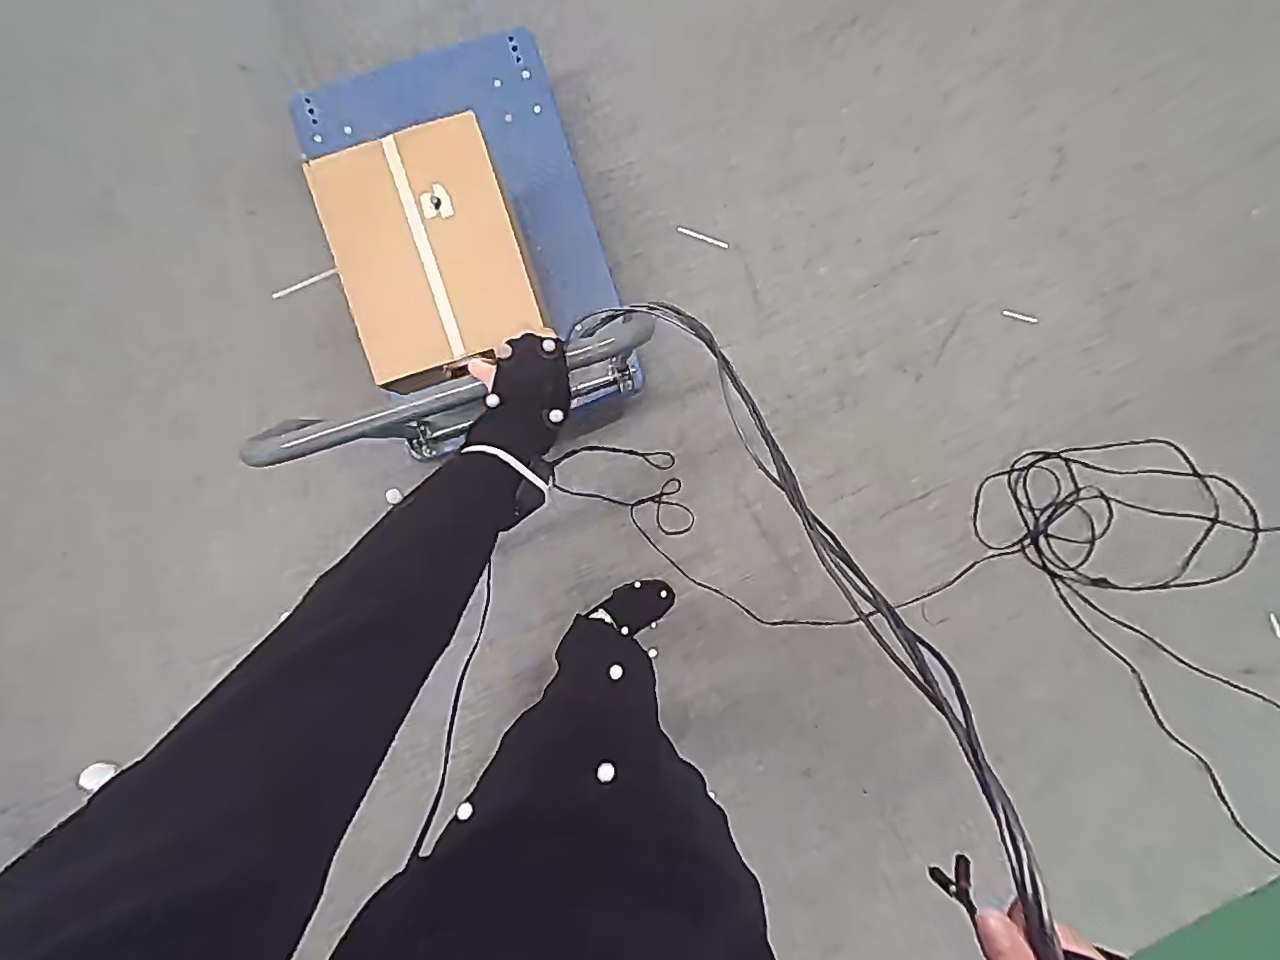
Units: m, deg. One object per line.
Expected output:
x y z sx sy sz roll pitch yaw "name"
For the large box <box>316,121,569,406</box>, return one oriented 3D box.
-0.365 -0.401 1.102 0.320 0.320 0.408 -18 91 -2 "large box"
